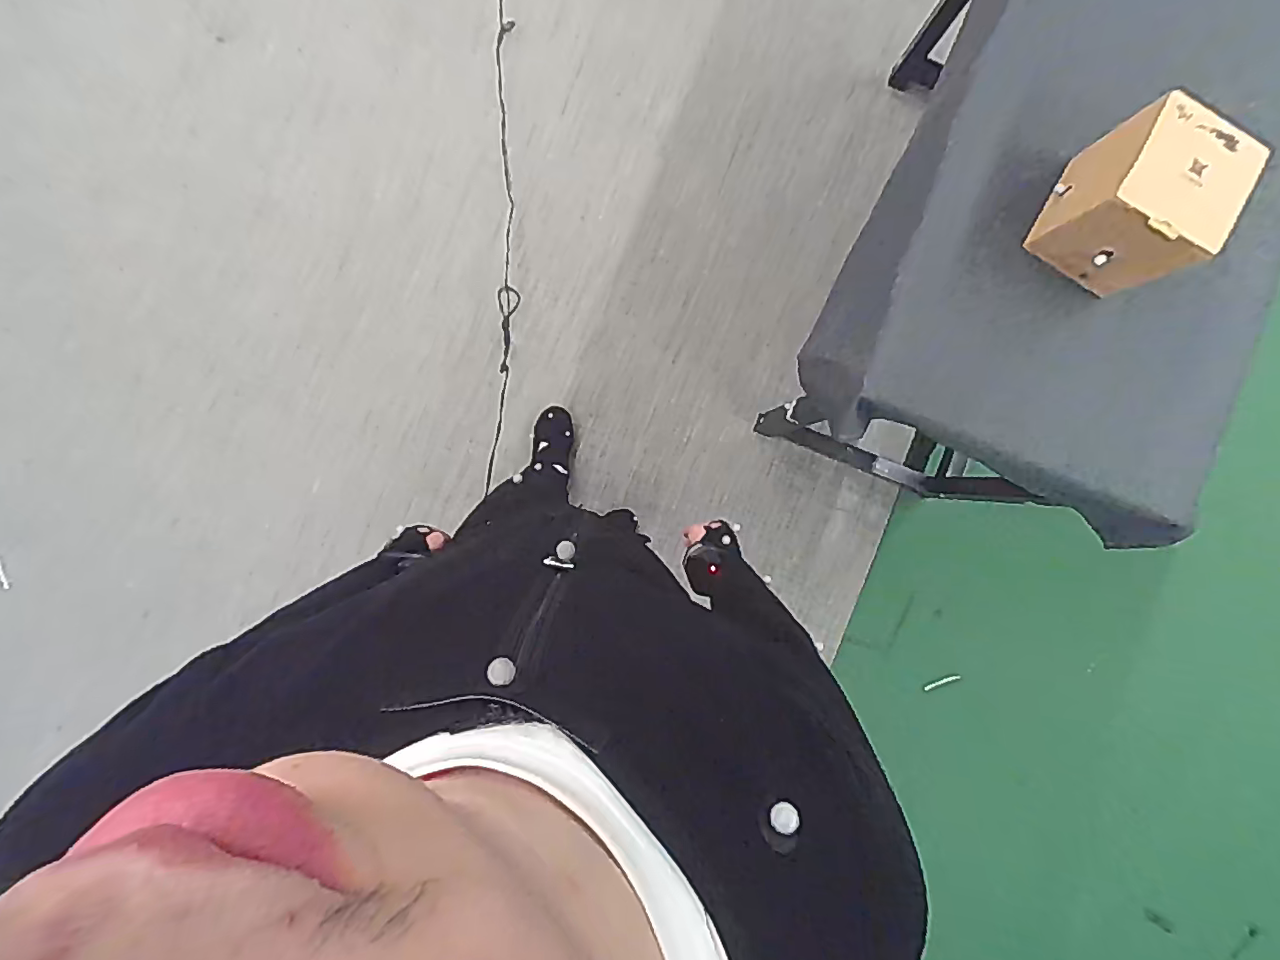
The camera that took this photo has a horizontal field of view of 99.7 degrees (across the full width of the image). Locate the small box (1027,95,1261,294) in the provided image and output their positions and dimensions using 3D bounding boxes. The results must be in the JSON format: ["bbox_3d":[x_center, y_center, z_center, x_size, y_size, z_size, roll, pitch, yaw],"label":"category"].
[{"bbox_3d":[0.743,-0.415,0.822,0.168,0.176,0.179,30,89,-3],"label":"small box"}]

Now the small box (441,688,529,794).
[{"bbox_3d":[-0.413,0.705,1.476,0.168,0.176,0.179,24,89,-6],"label":"small box"}]
